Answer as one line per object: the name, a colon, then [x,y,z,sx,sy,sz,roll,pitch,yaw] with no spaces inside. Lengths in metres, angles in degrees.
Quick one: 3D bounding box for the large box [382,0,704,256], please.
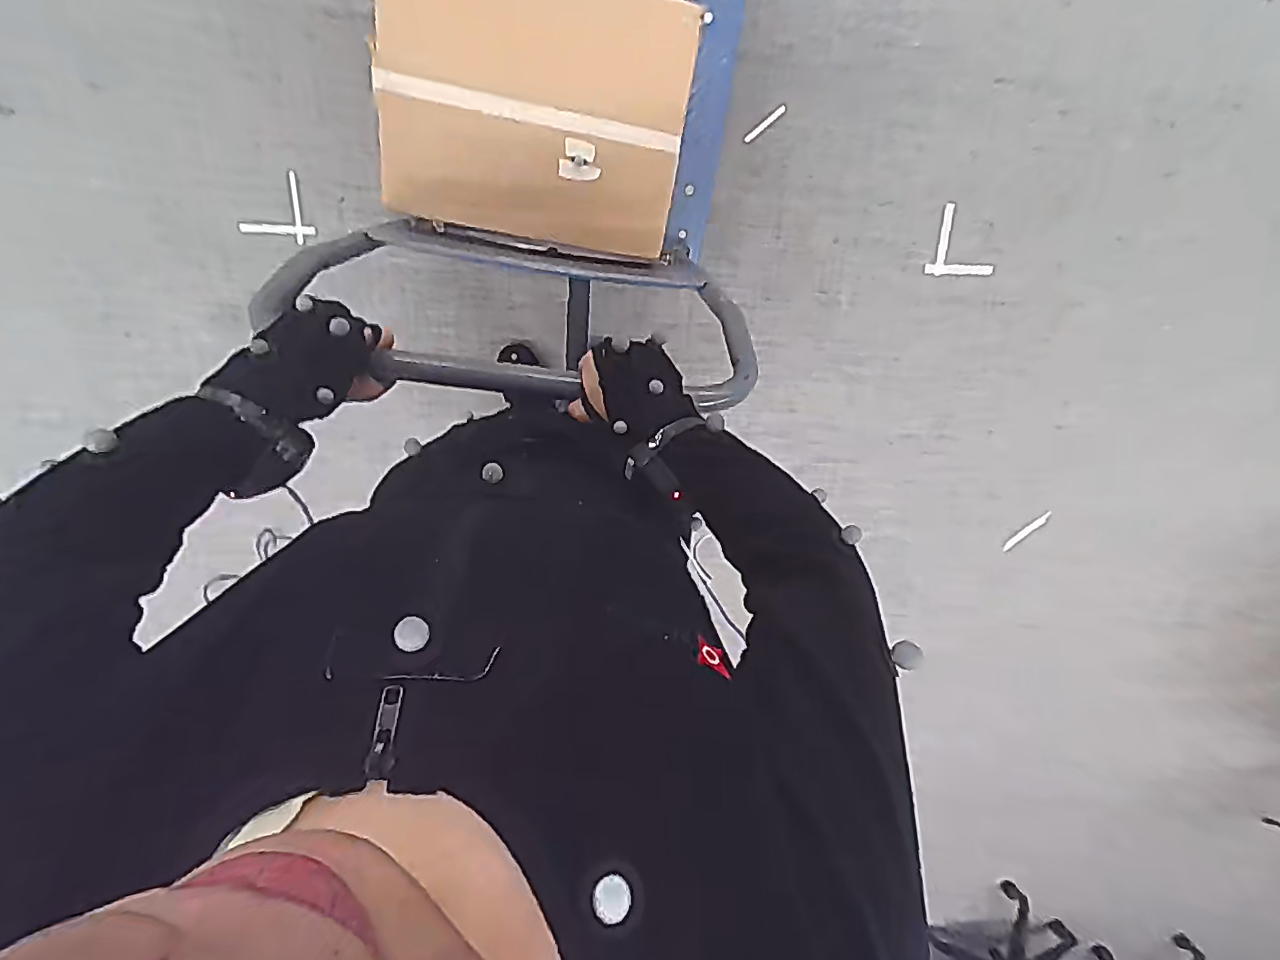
large box: [-0.152,-0.563,0.862,0.408,0.320,0.320,7,117,-10]
